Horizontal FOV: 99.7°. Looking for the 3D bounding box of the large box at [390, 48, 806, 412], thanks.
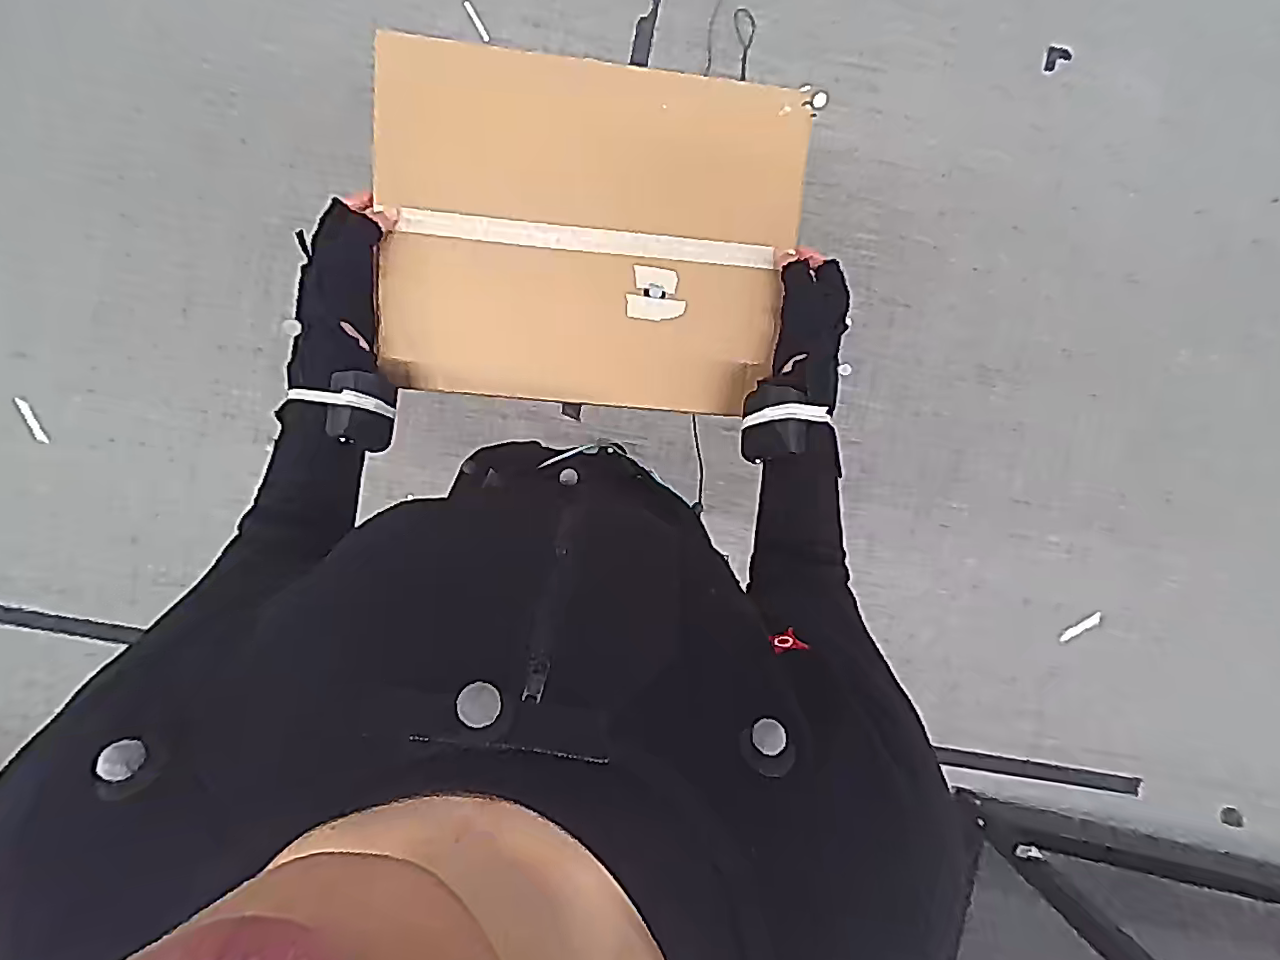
[{"bbox_3d":[-0.057,-0.261,0.686,0.408,0.320,0.320,5,100,-6],"label":"large box"}]
